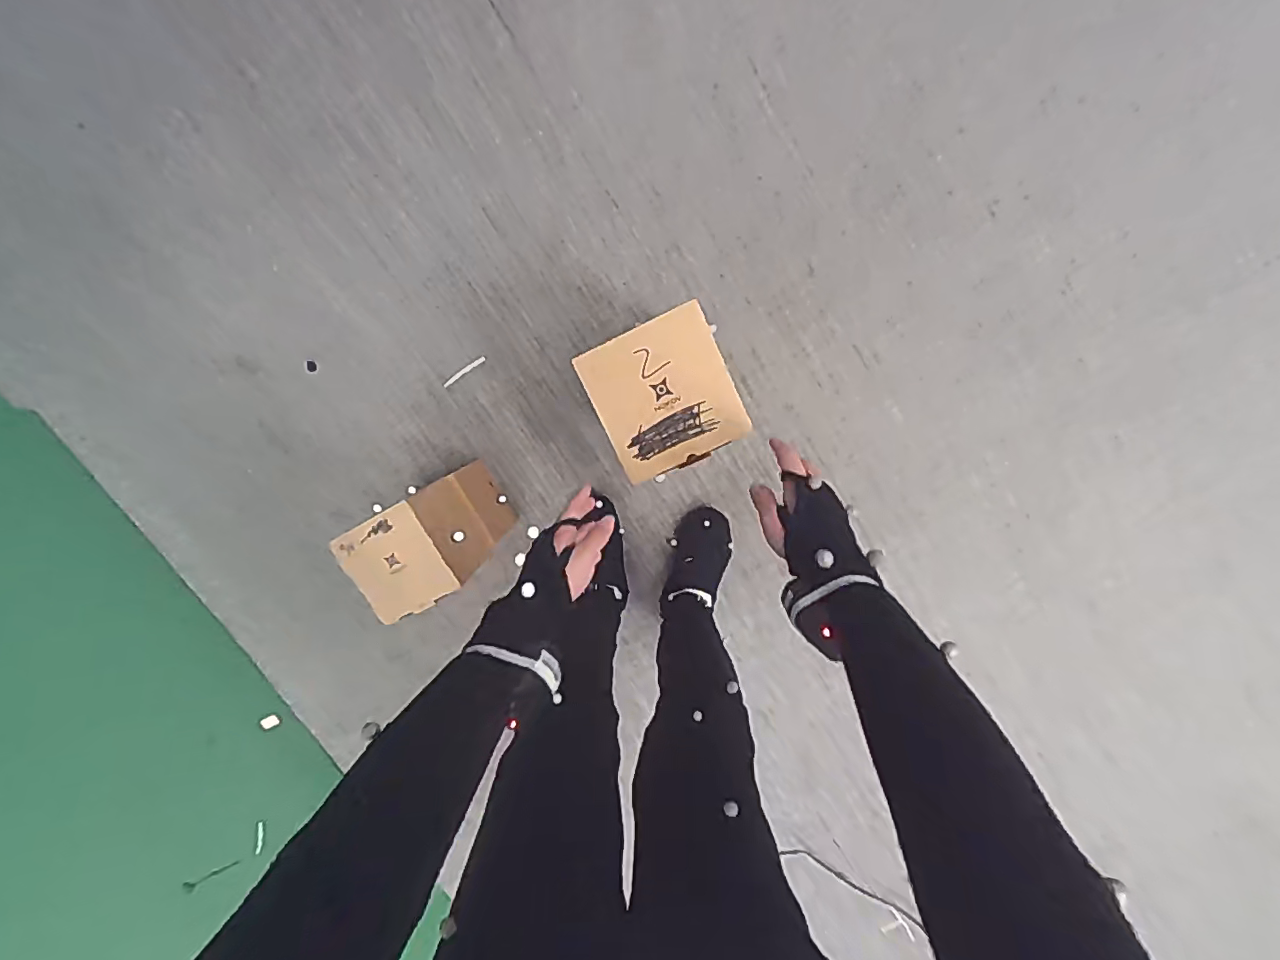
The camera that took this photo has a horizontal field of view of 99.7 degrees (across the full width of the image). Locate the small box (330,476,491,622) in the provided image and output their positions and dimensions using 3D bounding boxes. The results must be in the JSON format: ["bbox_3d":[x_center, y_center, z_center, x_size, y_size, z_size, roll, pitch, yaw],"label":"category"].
[{"bbox_3d":[-0.398,0.117,0.974,0.168,0.176,0.179,-27,102,9],"label":"small box"}]

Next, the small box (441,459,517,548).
[{"bbox_3d":[-0.386,0.074,1.132,0.179,0.176,0.168,-27,101,9],"label":"small box"}]

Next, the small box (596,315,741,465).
[{"bbox_3d":[0.045,-0.148,0.885,0.168,0.176,0.179,-26,101,8],"label":"small box"}]
